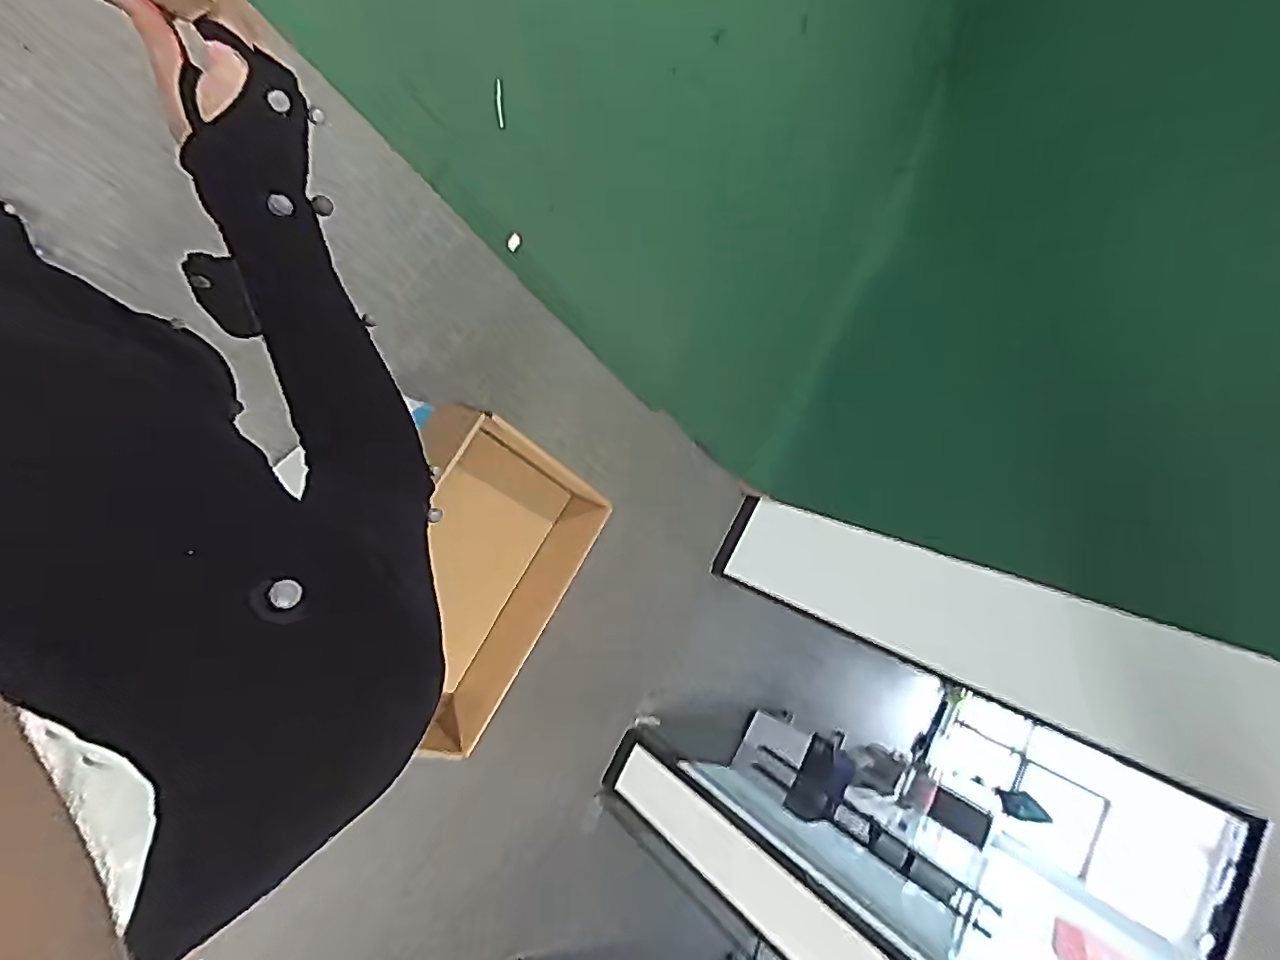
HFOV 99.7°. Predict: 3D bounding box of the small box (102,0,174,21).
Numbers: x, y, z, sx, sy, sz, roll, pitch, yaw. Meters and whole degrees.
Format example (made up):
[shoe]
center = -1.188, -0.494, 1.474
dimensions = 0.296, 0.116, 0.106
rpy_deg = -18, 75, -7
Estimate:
[small box]
center = -0.372, -0.429, 0.325
dimensions = 0.168, 0.176, 0.179
rpy_deg = 12, 109, -48
